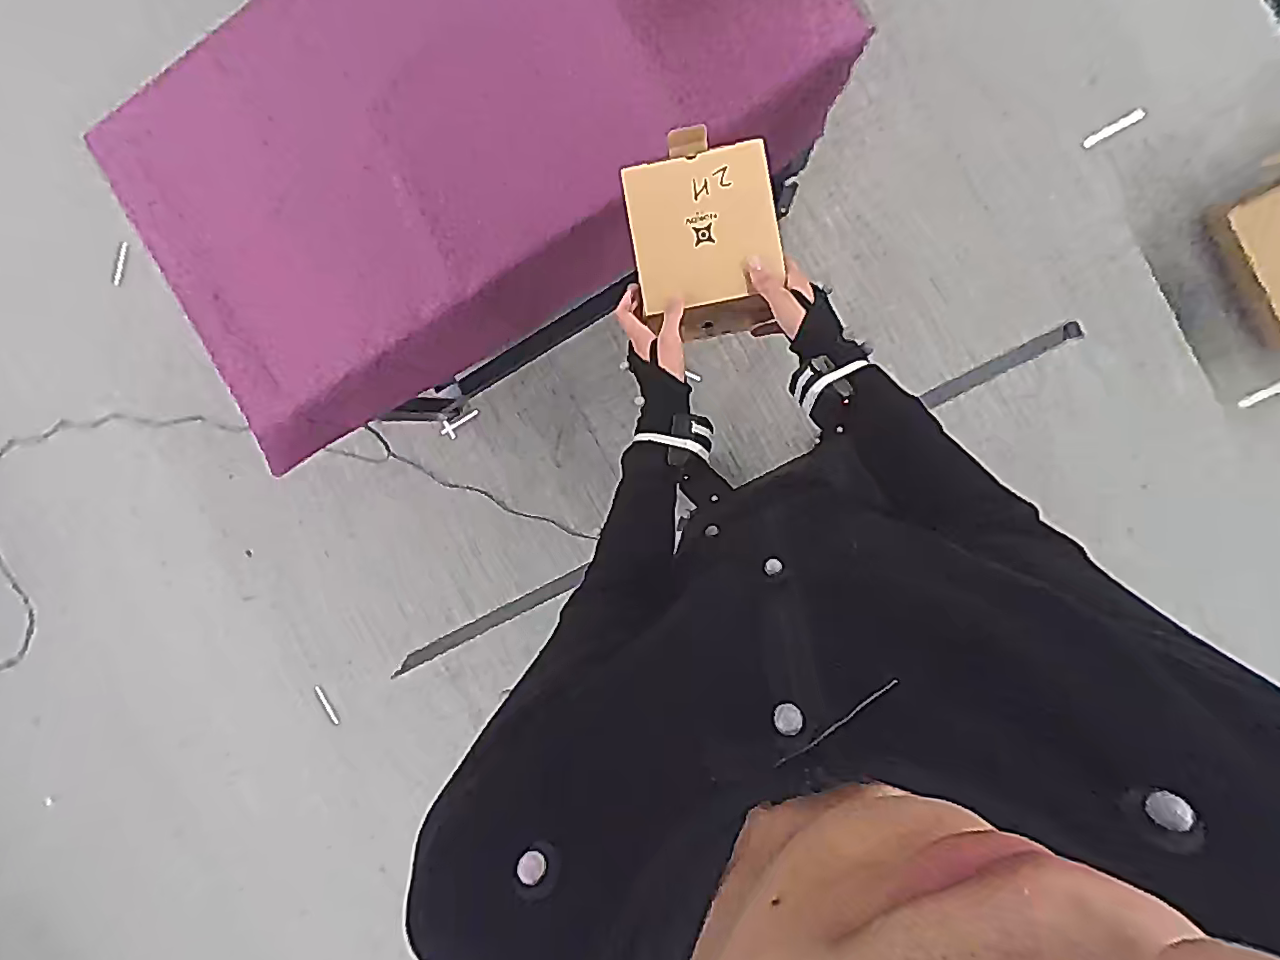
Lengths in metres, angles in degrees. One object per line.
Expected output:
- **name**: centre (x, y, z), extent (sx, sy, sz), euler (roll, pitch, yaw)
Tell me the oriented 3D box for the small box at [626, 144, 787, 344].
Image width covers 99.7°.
- **small box**: centre (0.082, -0.283, 0.695), extent (0.168, 0.176, 0.179), euler (-9, 89, 4)
